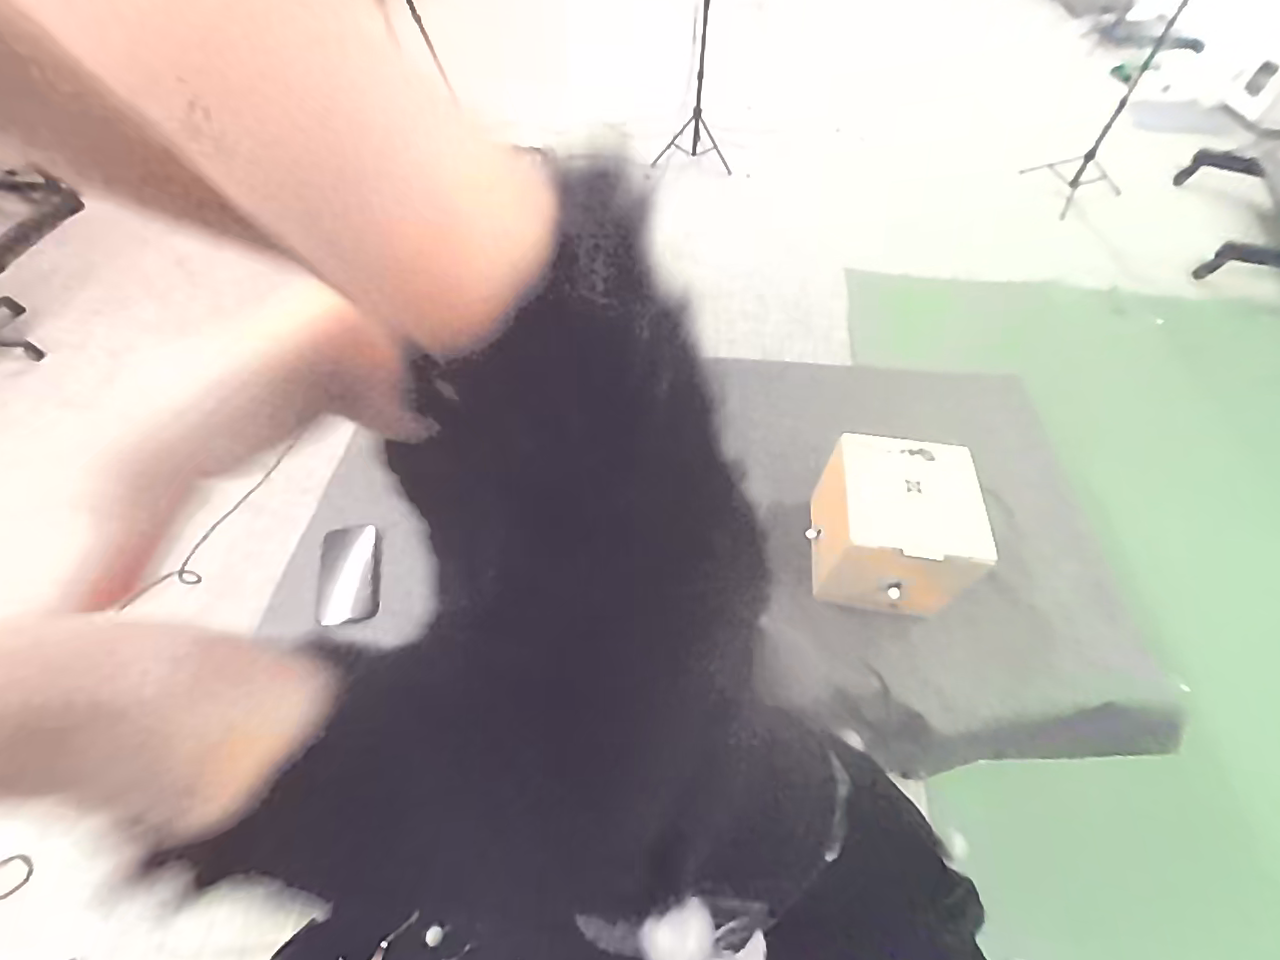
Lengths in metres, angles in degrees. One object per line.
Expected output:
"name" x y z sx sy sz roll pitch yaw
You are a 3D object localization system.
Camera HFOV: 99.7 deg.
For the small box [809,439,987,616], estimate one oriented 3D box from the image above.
"small box" 0.339 0.071 0.749 0.168 0.176 0.179 8 54 5
